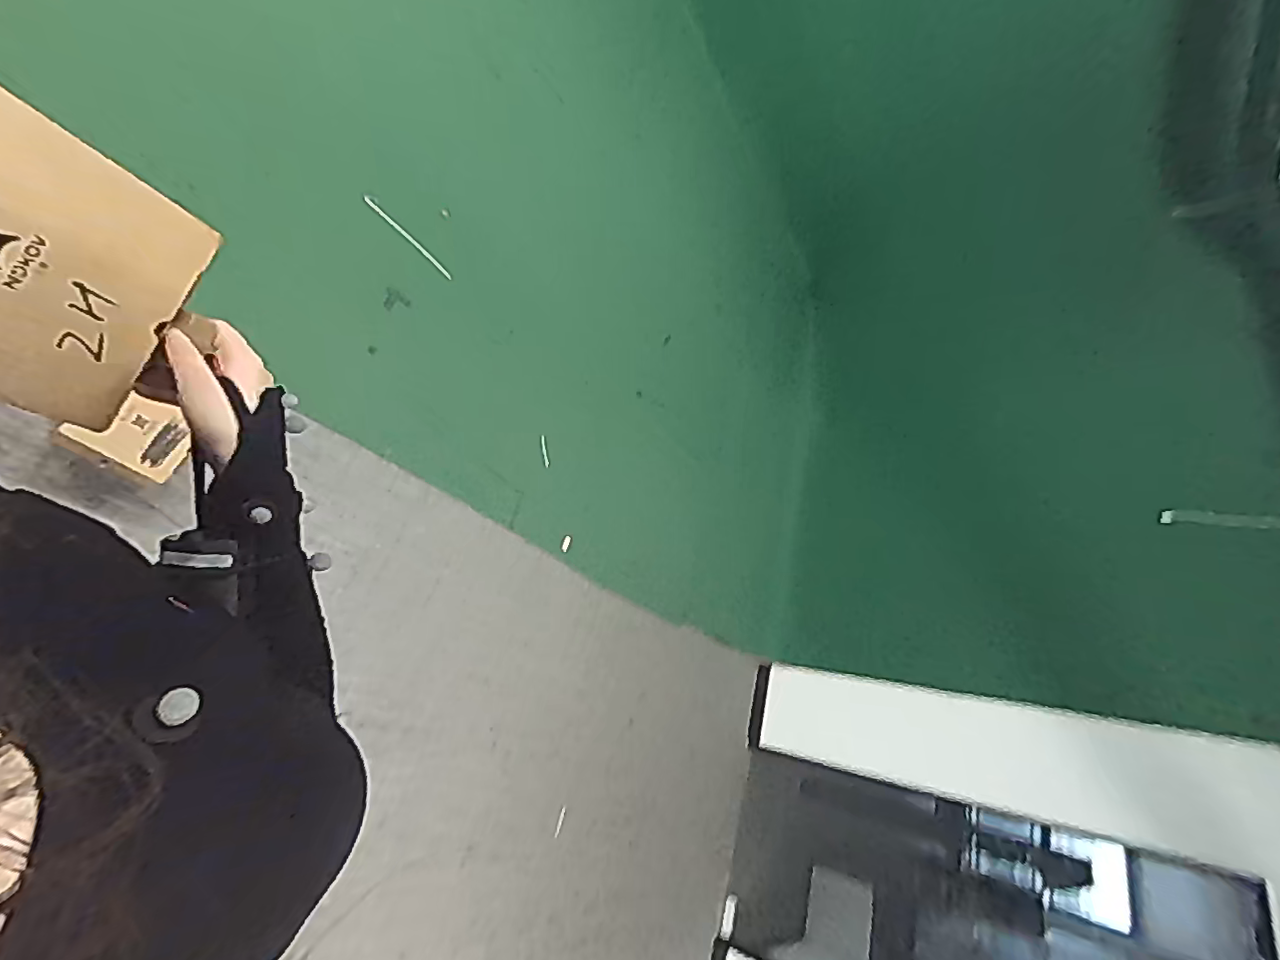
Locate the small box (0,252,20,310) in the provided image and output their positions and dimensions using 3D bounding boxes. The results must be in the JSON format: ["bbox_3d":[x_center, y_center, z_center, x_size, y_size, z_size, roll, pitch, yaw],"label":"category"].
[{"bbox_3d":[-1.185,-0.326,0.887,0.168,0.176,0.179,38,59,-43],"label":"small box"}]
